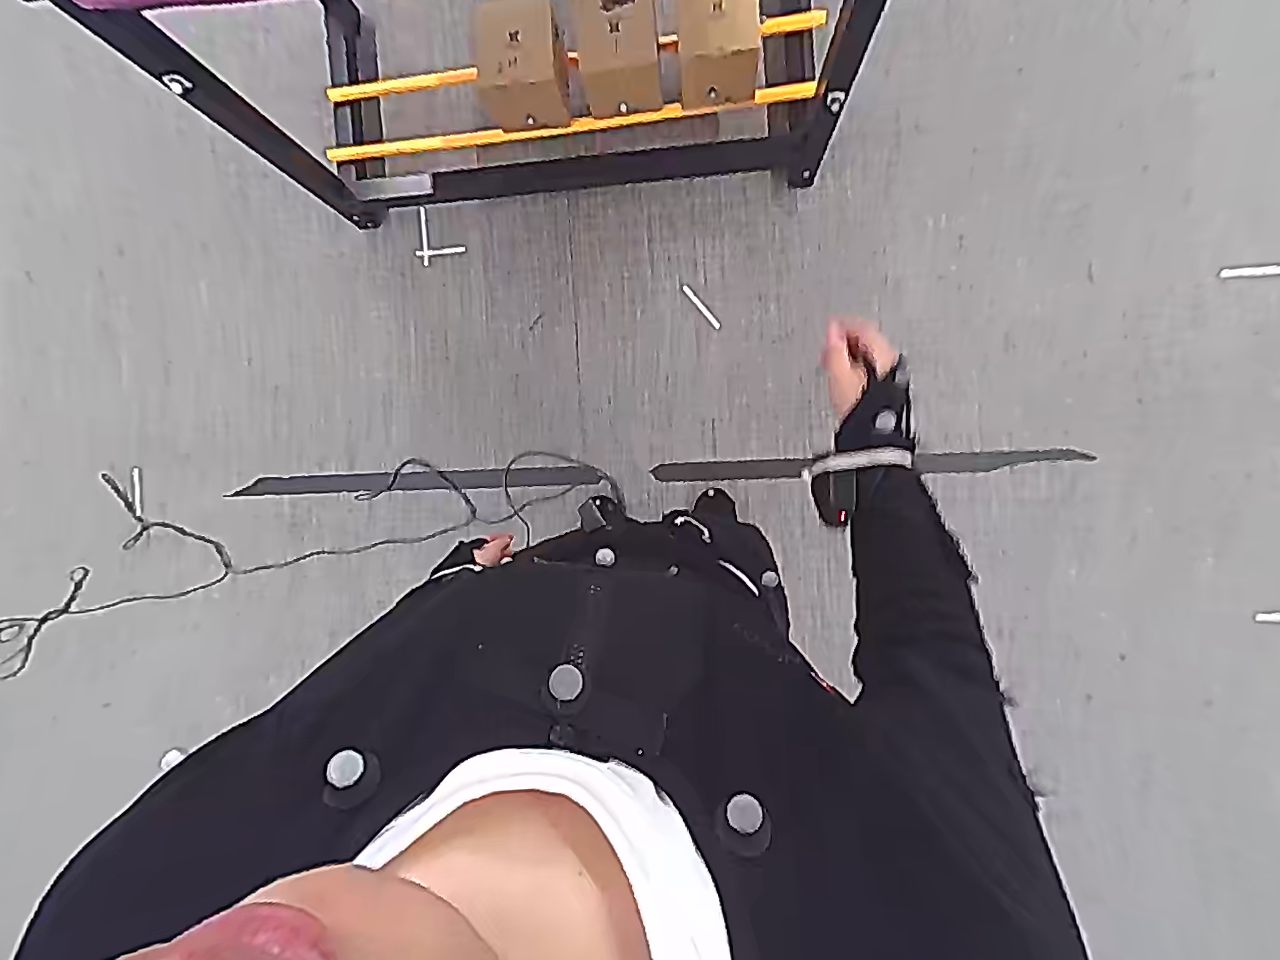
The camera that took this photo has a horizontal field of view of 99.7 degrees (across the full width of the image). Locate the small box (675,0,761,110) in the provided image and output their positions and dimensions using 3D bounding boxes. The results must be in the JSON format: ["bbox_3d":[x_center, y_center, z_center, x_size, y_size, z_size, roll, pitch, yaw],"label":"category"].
[{"bbox_3d":[0.161,-0.938,1.153,0.168,0.176,0.179,-4,92,6],"label":"small box"}]

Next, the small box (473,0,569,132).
[{"bbox_3d":[-0.256,-0.911,1.194,0.168,0.176,0.179,-2,93,5],"label":"small box"}]
